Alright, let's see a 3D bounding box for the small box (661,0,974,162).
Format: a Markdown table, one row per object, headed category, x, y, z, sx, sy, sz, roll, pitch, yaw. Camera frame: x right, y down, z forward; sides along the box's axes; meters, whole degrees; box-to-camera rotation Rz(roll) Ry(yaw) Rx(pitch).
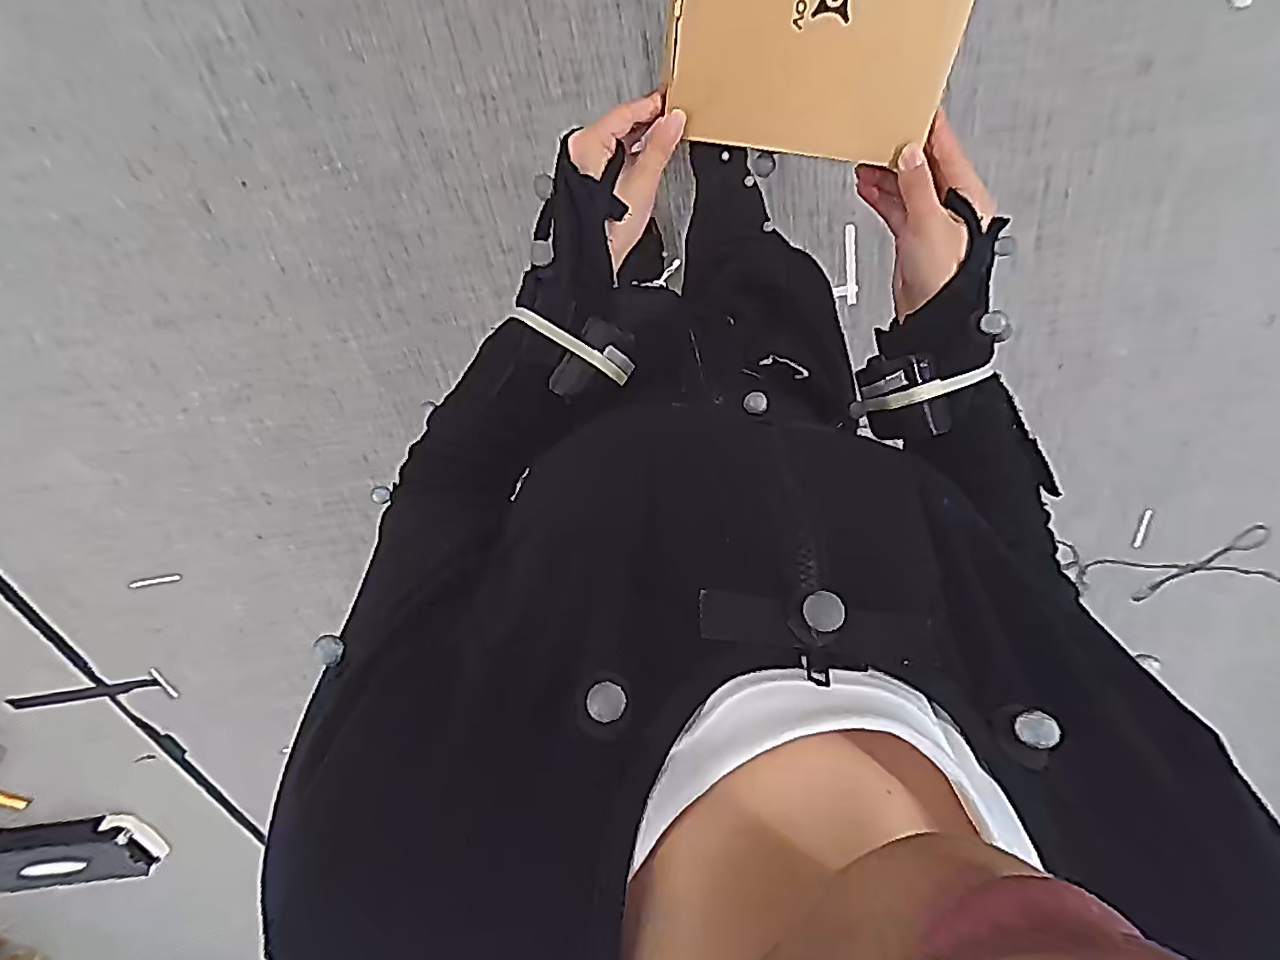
| category | x | y | z | sx | sy | sz | roll | pitch | yaw |
| --- | --- | --- | --- | --- | --- | --- | --- | --- | --- |
| small box | 0.112 | -0.336 | 0.381 | 0.179 | 0.176 | 0.168 | 6 | 124 | -3 |
